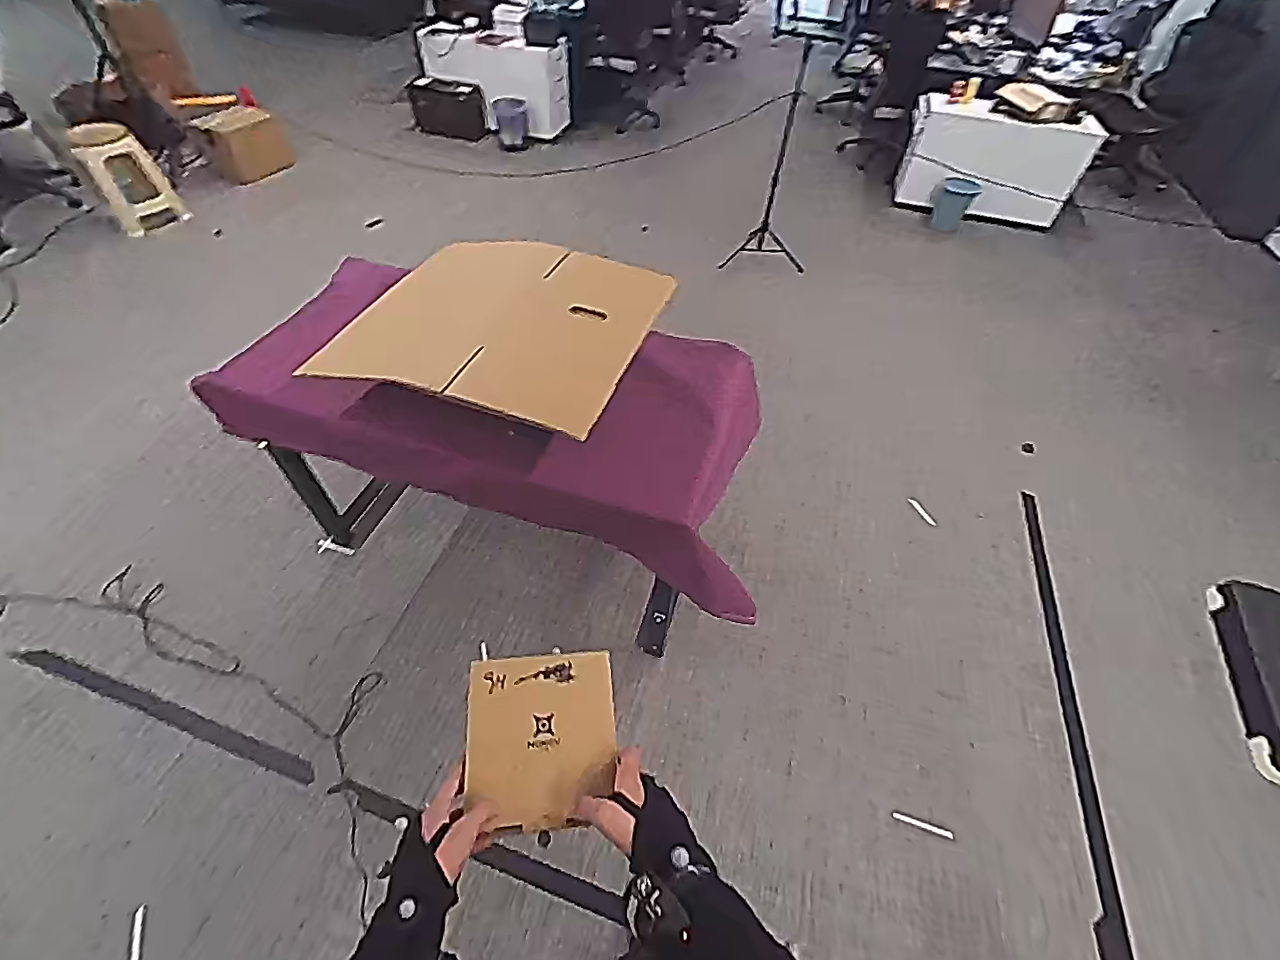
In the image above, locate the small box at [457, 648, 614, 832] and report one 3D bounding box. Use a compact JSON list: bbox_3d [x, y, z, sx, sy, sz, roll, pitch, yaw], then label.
[{"bbox_3d":[-0.127,0.326,0.674,0.168,0.176,0.179,-2,56,-11],"label":"small box"}]
